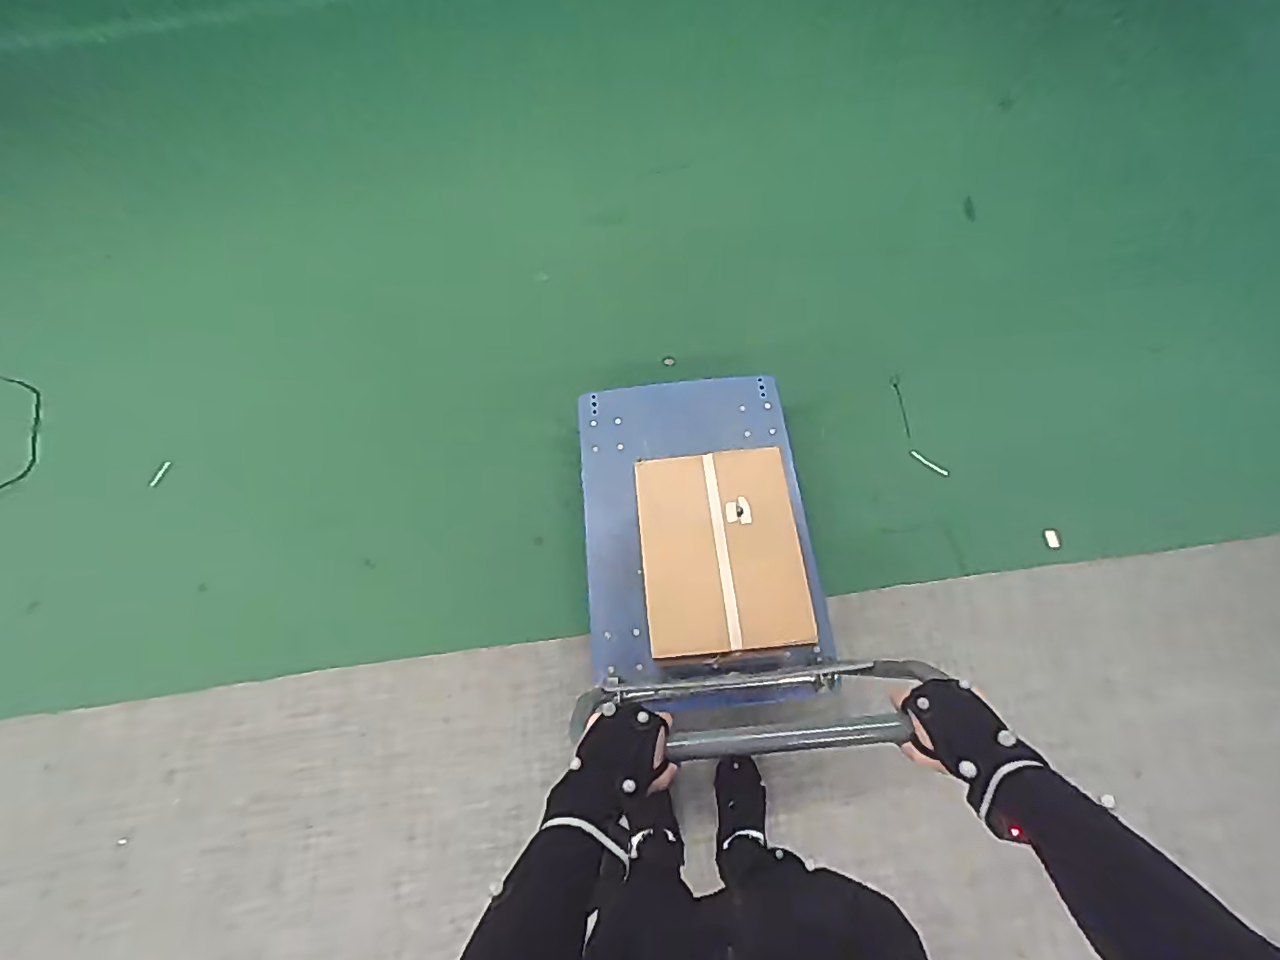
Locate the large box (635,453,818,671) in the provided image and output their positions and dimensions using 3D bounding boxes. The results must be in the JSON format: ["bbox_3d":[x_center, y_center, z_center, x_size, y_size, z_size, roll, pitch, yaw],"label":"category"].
[{"bbox_3d":[0.169,0.196,1.212,0.320,0.320,0.408,-5,67,0],"label":"large box"}]
